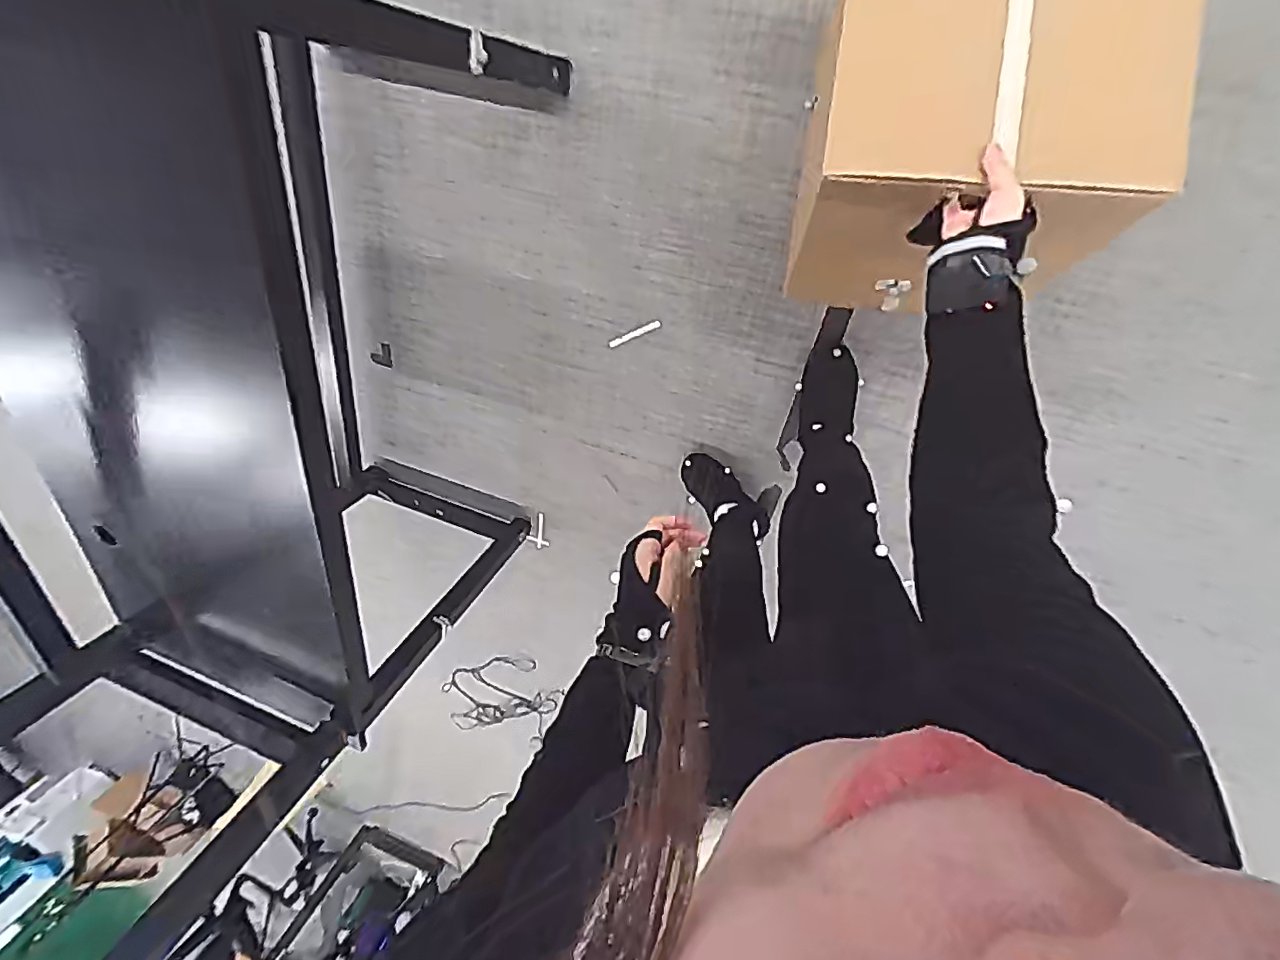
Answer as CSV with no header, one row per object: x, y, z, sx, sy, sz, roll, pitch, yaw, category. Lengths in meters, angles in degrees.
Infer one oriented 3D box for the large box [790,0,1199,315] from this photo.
0.372,-0.451,0.650,0.320,0.320,0.408,8,86,7,large box
